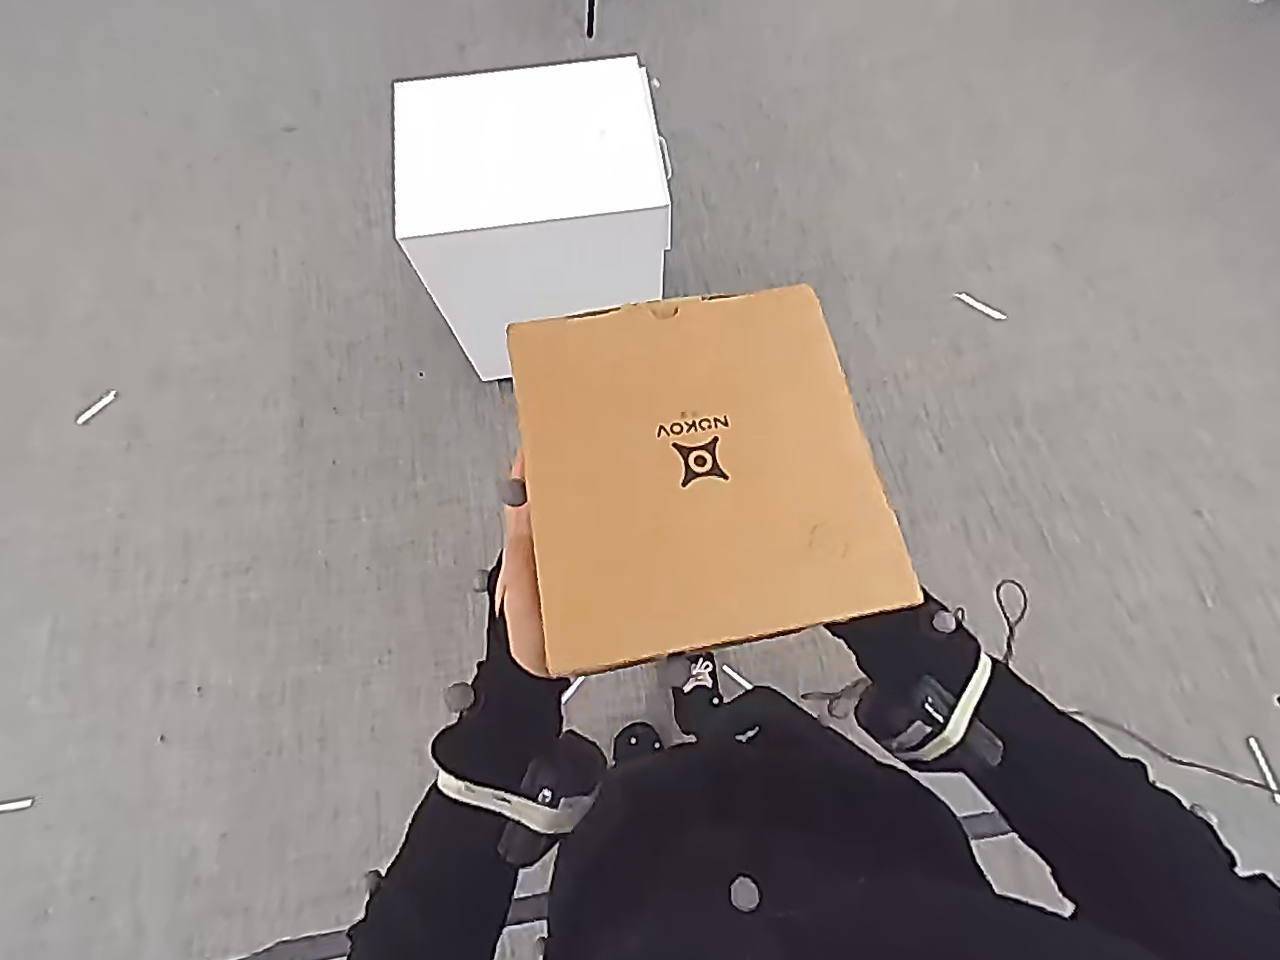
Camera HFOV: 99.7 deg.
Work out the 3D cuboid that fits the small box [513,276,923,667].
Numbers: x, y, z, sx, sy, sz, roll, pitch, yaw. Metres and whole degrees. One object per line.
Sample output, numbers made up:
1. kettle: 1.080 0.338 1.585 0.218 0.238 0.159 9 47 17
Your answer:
1. small box: 0.027 0.010 0.330 0.168 0.176 0.179 -9 69 -6
